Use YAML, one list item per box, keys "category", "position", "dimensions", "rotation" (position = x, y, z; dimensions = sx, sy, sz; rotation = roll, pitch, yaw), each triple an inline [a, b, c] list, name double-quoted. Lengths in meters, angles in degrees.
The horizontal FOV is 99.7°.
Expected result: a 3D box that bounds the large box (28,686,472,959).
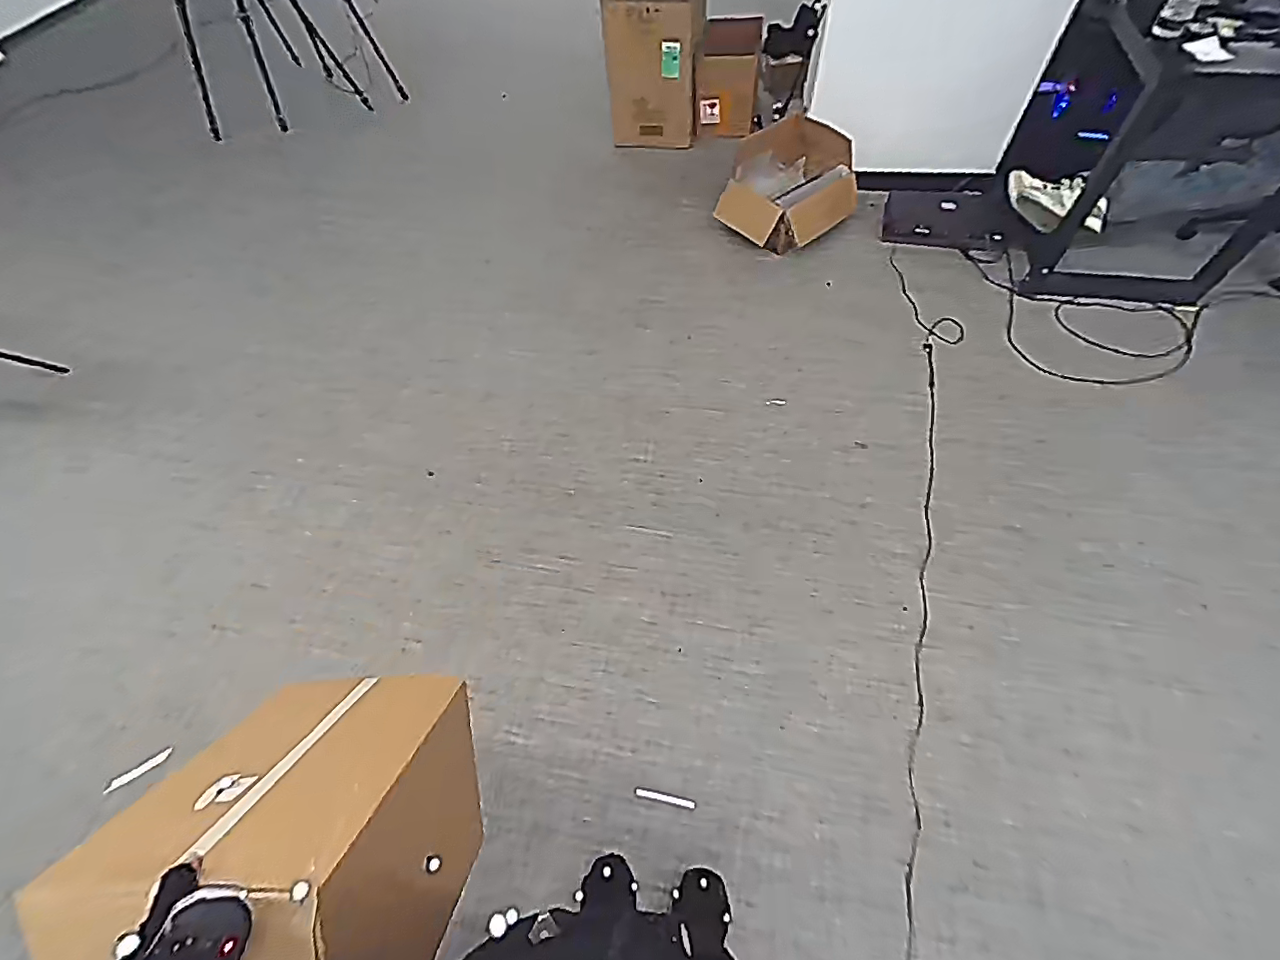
- category: "large box"
  position: [-0.456, 0.536, 0.754]
  dimensions: [0.320, 0.408, 0.320]
  rotation: [-3, 100, 3]
